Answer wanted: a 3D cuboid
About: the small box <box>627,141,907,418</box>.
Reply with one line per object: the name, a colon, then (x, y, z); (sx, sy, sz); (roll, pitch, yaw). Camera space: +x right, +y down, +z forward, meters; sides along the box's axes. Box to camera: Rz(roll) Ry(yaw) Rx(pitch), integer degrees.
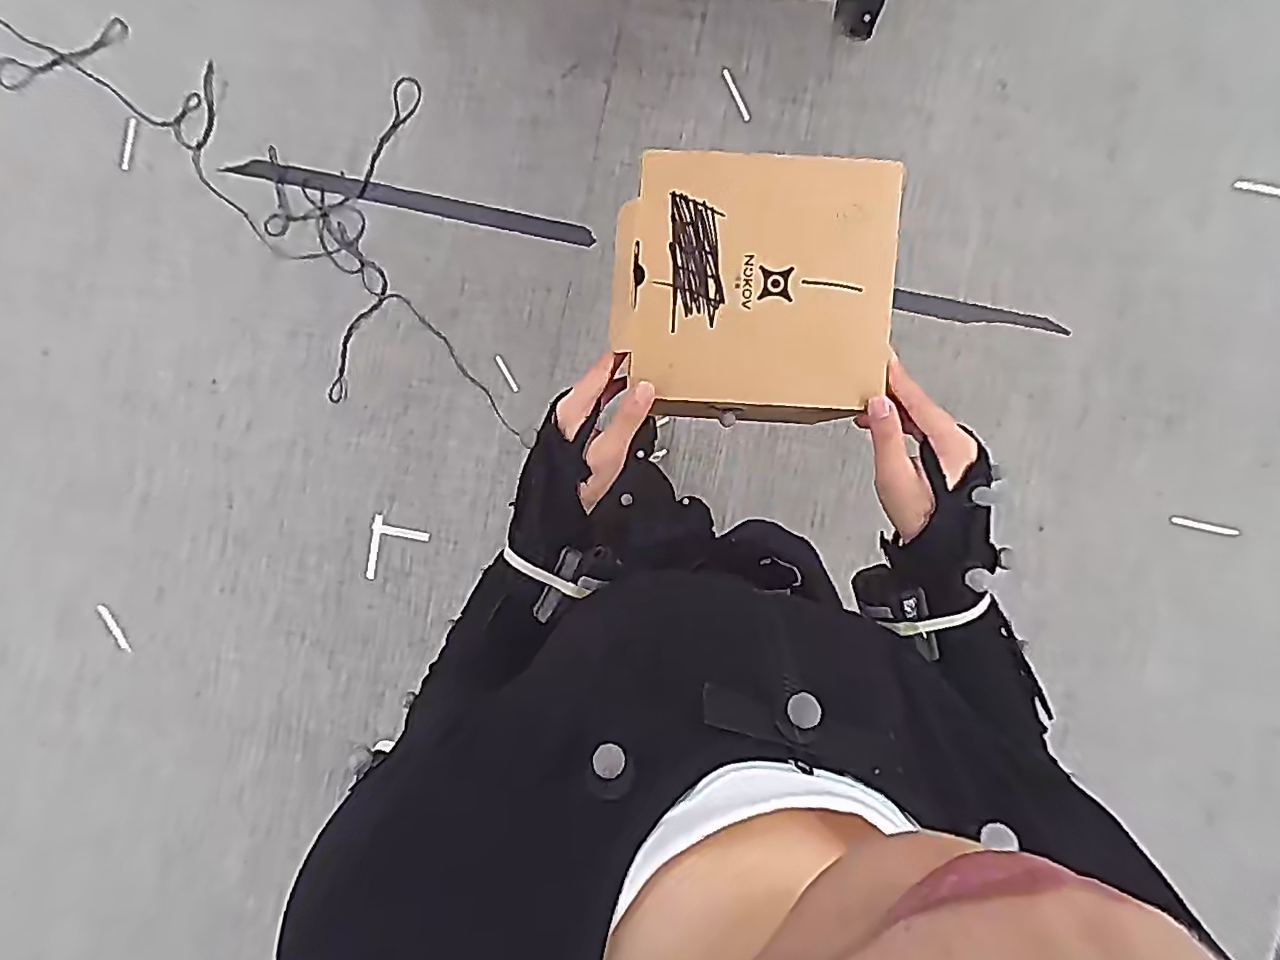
small box: (0.084, -0.139, 0.435); (0.179, 0.176, 0.168); (3, 93, 0)
